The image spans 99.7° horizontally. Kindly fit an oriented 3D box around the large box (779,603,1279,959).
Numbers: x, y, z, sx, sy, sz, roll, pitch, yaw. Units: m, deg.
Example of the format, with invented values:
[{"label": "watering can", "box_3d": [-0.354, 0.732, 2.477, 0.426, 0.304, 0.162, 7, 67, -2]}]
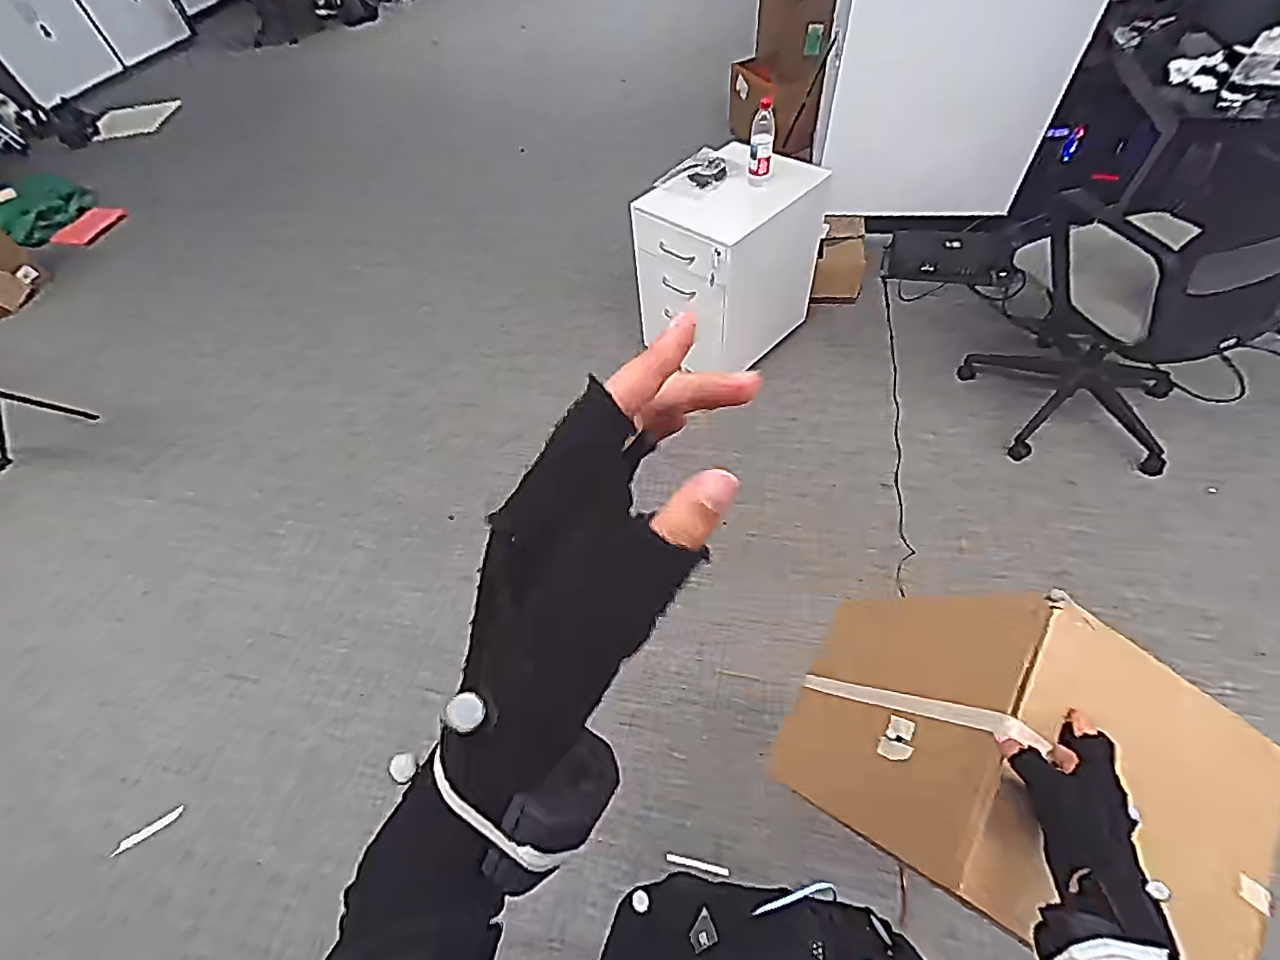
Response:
[{"label": "large box", "box_3d": [0.459, 0.383, 0.714, 0.320, 0.408, 0.320, 34, 73, -1]}]
